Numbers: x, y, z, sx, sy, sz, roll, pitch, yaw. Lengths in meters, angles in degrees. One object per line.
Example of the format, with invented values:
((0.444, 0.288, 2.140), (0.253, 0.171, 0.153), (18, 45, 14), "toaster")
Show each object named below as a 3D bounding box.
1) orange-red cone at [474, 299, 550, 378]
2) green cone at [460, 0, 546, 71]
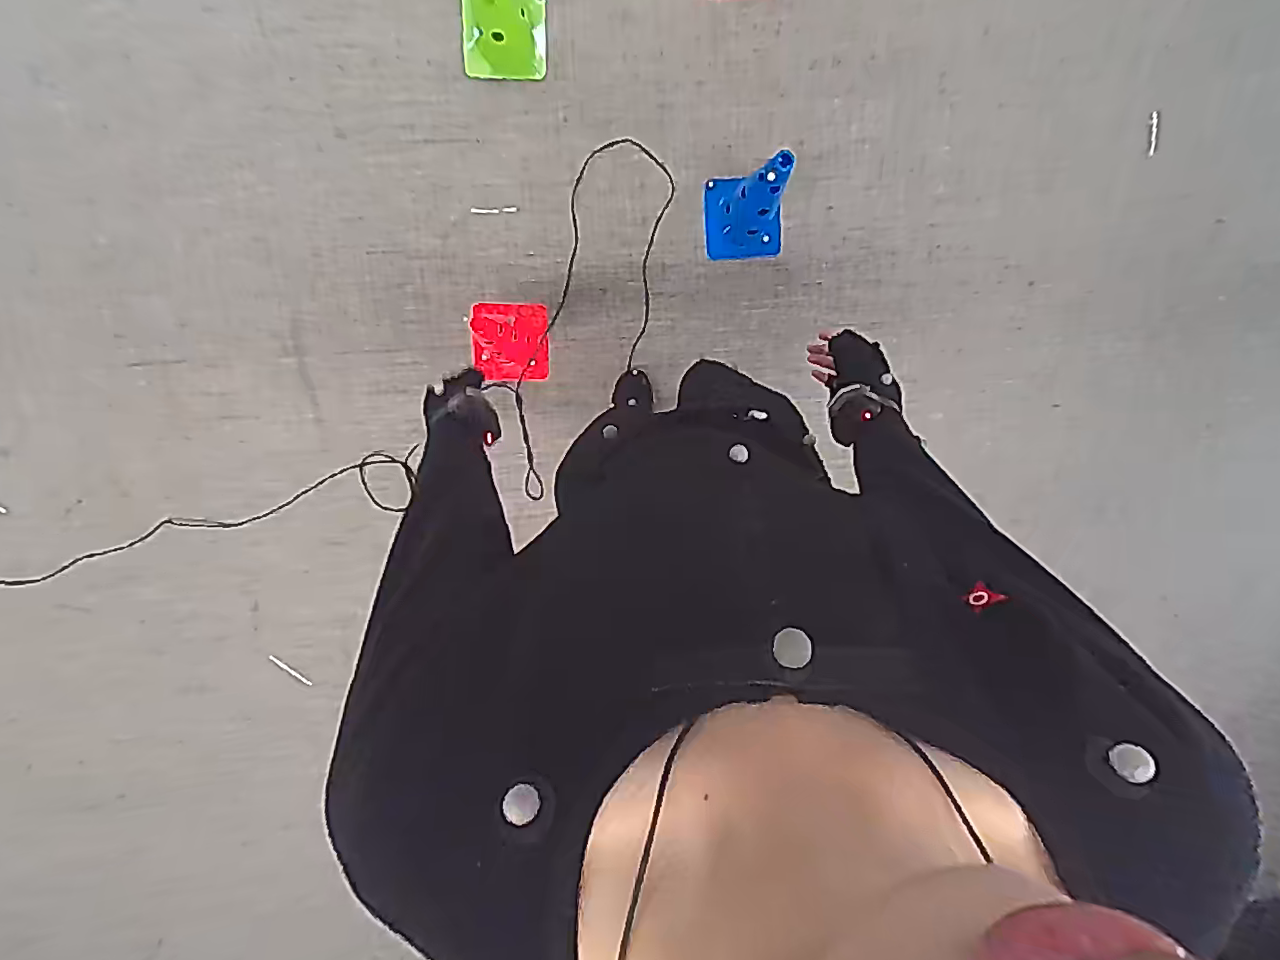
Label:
((-0.325, -0.349, 1.252), (0.198, 0.360, 0.199), (1, 97, -4), "orange-red cone")
((-0.323, -1.071, 1.134), (0.200, 0.368, 0.202), (-1, 100, -2), "green cone")
